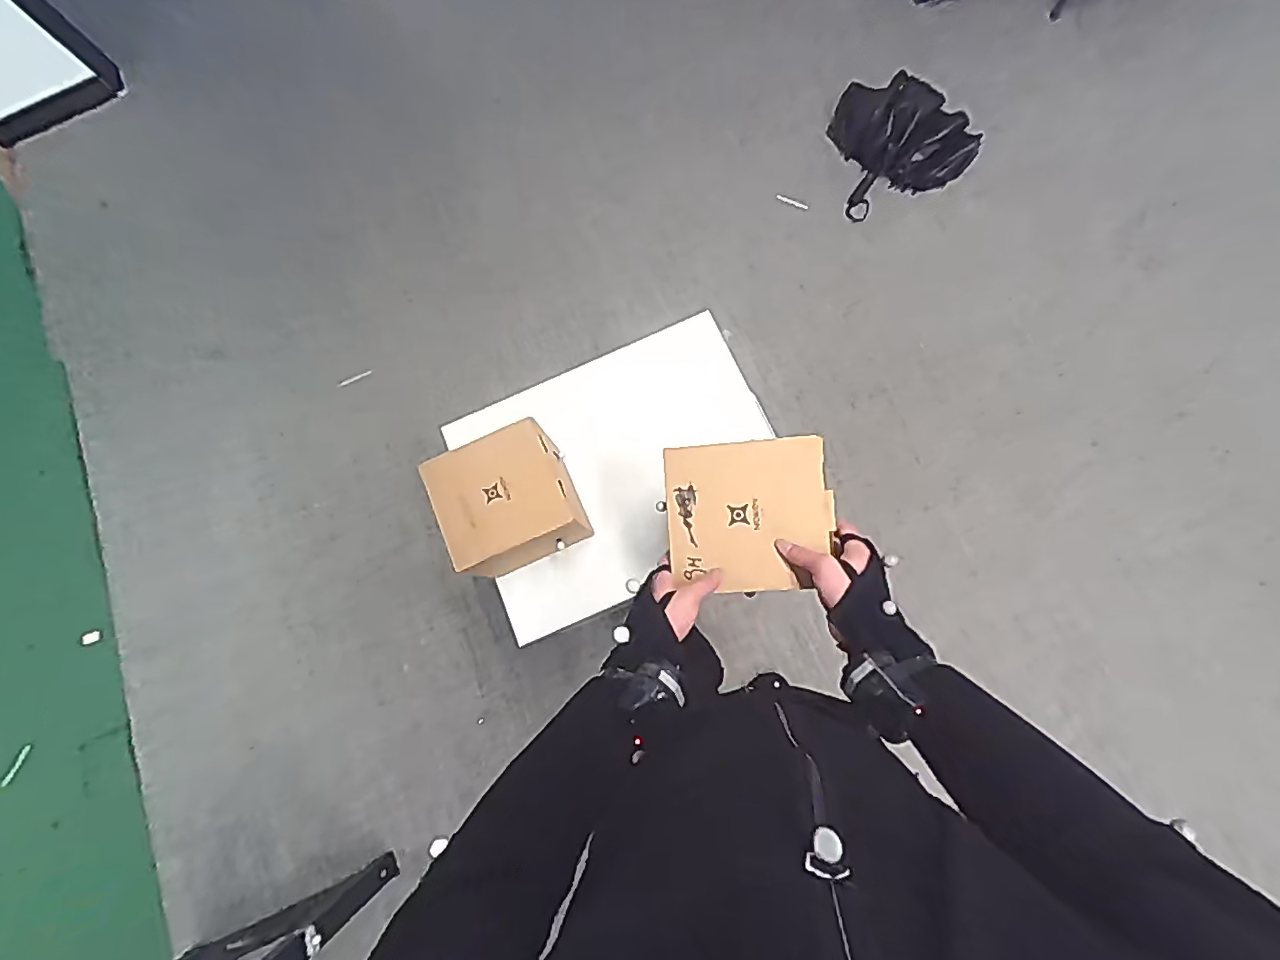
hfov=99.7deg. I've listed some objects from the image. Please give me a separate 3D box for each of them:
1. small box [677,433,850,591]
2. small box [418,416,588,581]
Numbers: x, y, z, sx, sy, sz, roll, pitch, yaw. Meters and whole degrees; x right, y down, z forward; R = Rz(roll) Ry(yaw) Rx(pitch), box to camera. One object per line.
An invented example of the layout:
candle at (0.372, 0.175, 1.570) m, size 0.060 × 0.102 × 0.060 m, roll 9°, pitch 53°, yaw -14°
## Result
small box at (0.135, 0.045, 0.650) m, size 0.179 × 0.176 × 0.168 m, roll -3°, pitch 80°, yaw 6°
small box at (-0.184, 0.036, 0.784) m, size 0.179 × 0.176 × 0.168 m, roll -24°, pitch 75°, yaw -3°
